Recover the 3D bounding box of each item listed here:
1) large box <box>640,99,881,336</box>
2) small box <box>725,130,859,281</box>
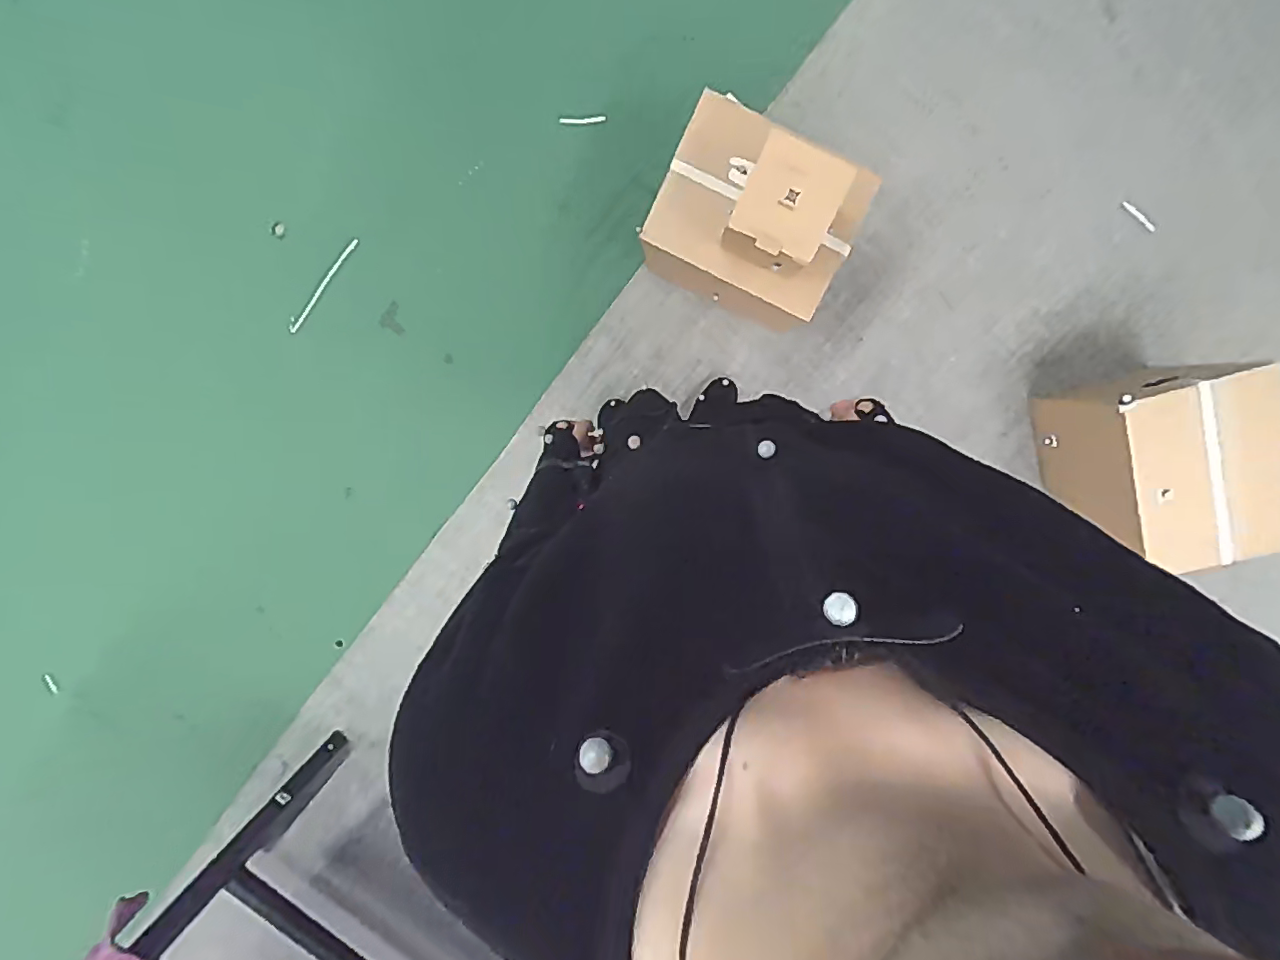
[{"bbox_3d":[0.255,-0.566,1.248,0.408,0.320,0.320,26,99,1],"label":"large box"},{"bbox_3d":[0.270,-0.495,1.009,0.168,0.176,0.179,27,101,-1],"label":"small box"}]
